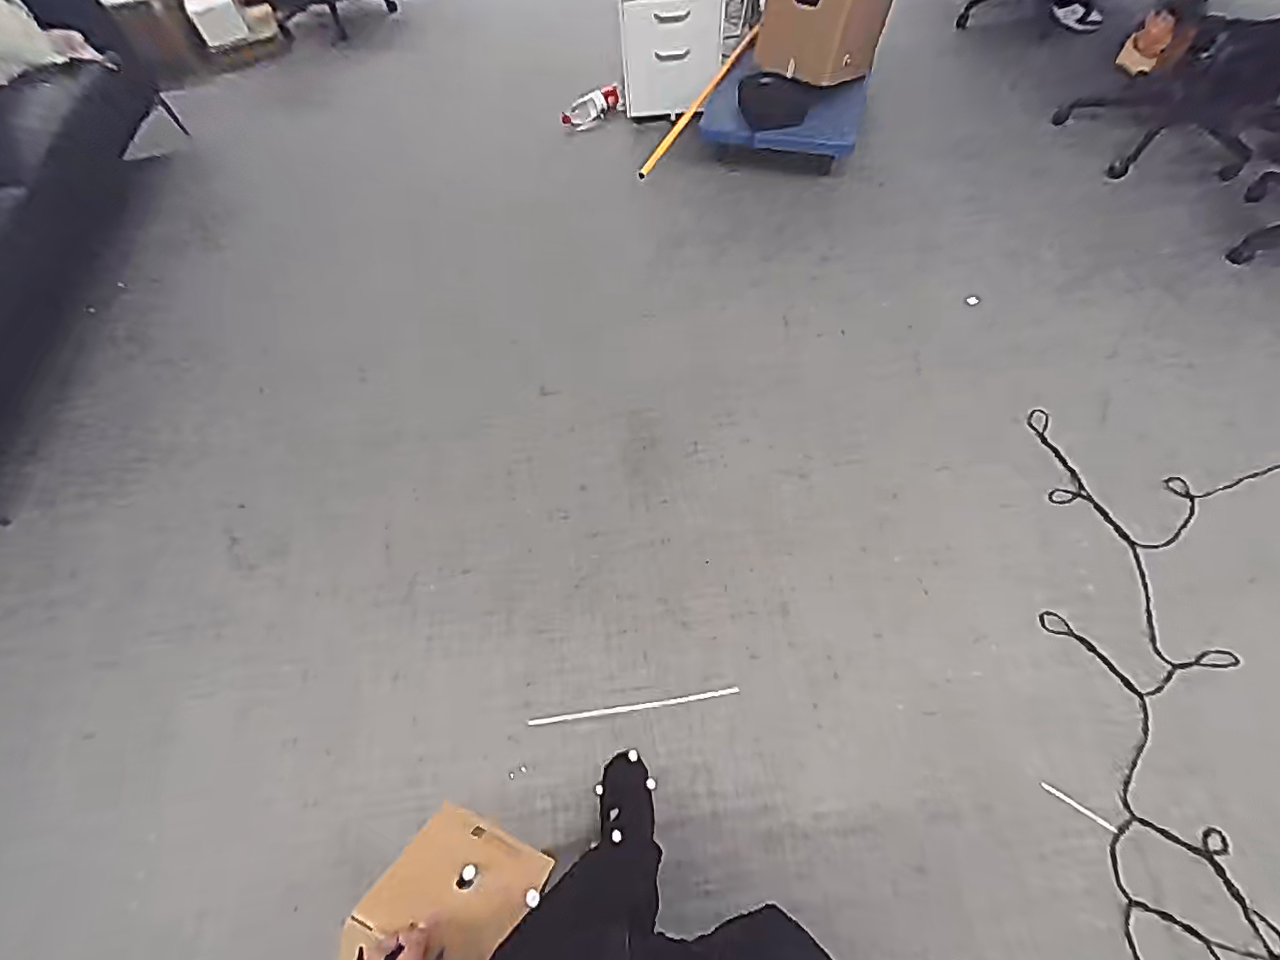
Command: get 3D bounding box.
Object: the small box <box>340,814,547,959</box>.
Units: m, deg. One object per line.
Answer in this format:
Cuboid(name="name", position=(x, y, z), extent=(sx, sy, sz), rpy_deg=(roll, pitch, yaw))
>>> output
Cuboid(name="small box", position=(-0.230, 0.547, 0.637), extent=(0.168, 0.176, 0.179), rpy_deg=(22, 103, 12))
